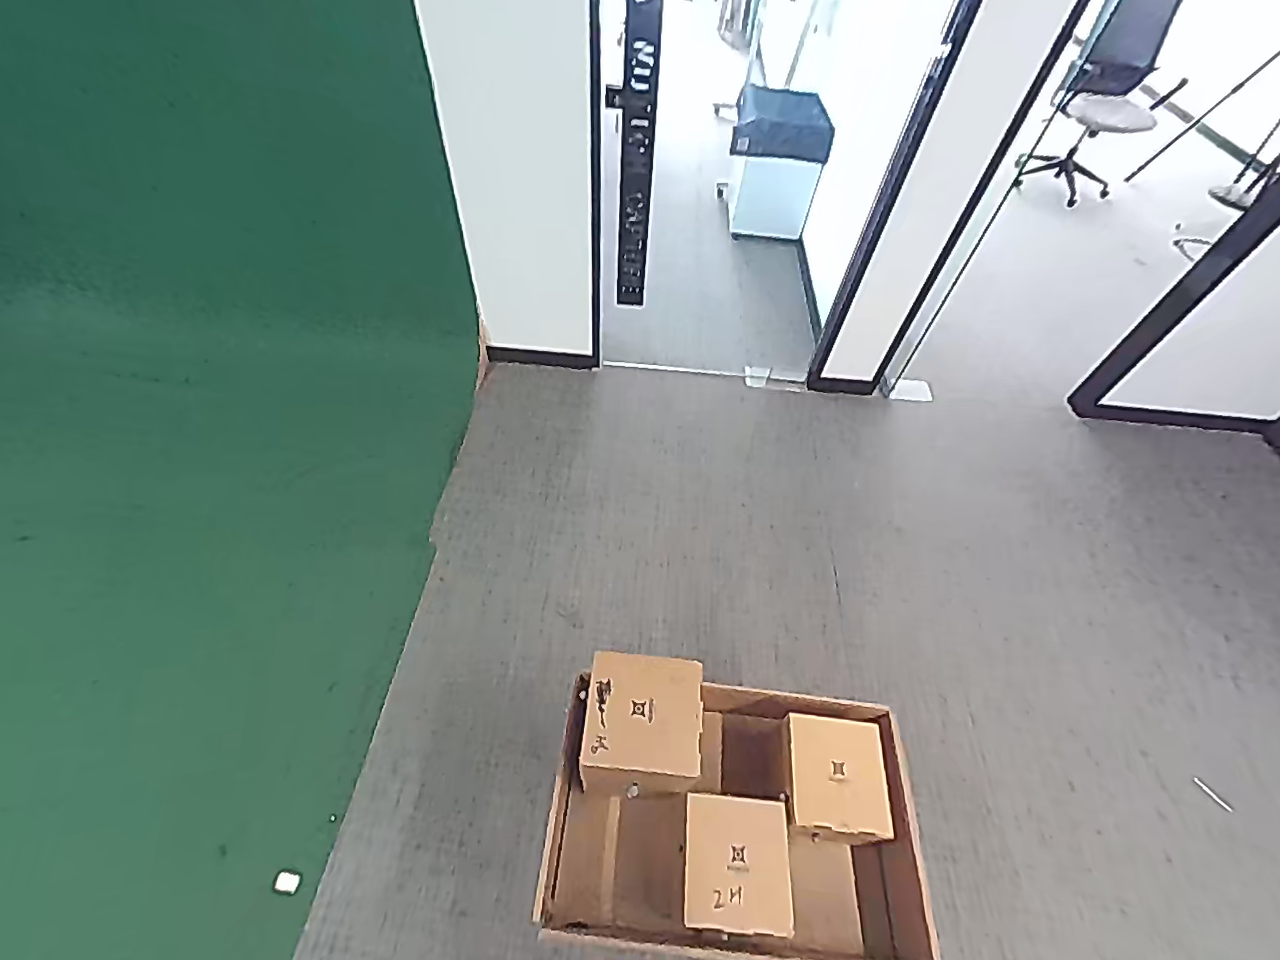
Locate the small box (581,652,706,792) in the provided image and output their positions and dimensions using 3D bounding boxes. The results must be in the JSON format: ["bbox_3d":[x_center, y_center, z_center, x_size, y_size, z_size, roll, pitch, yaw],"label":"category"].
[{"bbox_3d":[0.004,0.396,0.874,0.179,0.176,0.168,7,53,0],"label":"small box"}]
